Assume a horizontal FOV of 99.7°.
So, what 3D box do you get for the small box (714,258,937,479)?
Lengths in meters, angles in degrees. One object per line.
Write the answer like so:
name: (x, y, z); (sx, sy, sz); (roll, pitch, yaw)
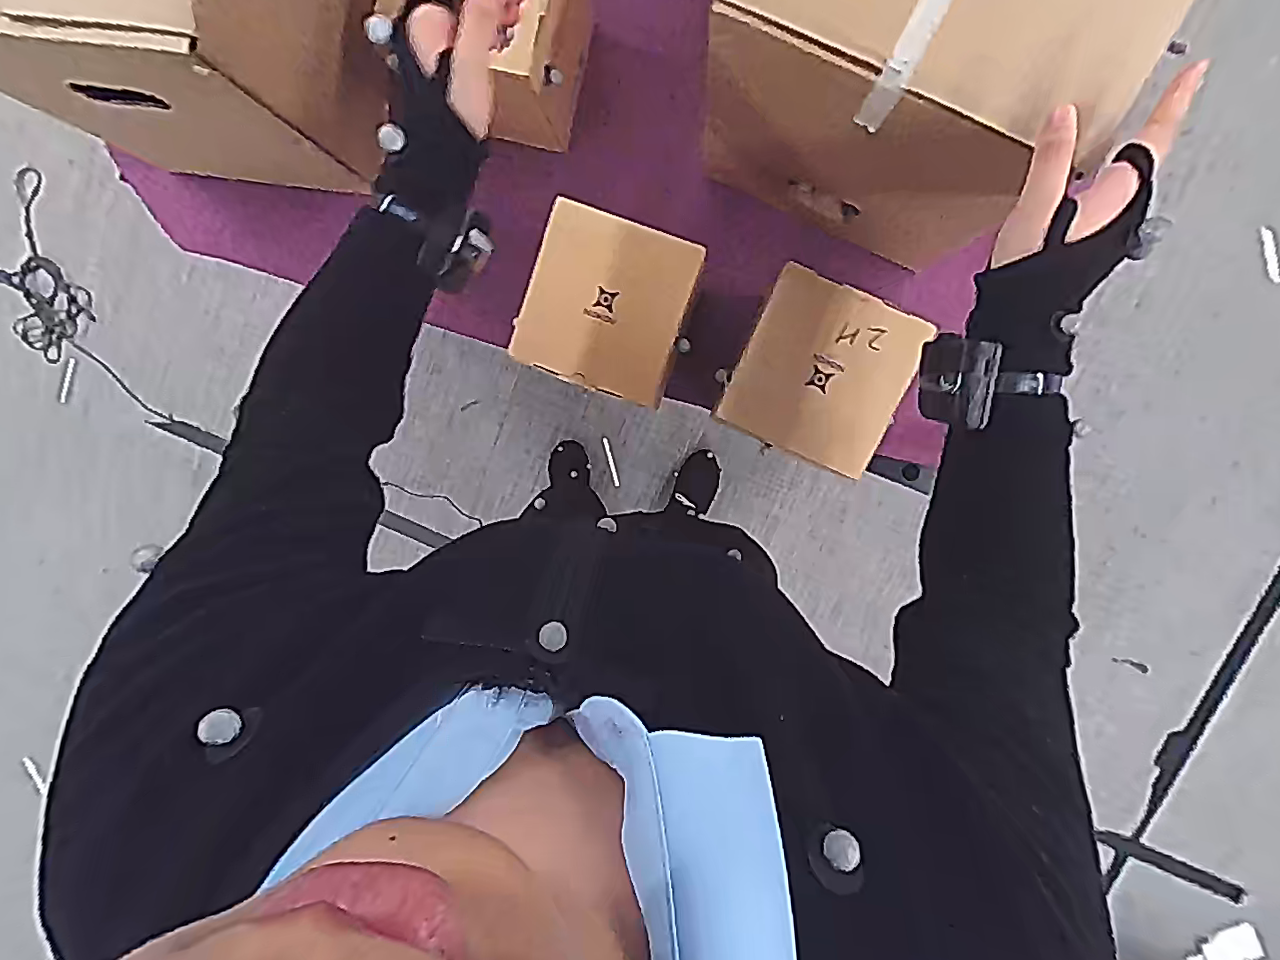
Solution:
small box: (0.195, -0.119, 0.627); (0.168, 0.176, 0.179); (25, 97, 2)
